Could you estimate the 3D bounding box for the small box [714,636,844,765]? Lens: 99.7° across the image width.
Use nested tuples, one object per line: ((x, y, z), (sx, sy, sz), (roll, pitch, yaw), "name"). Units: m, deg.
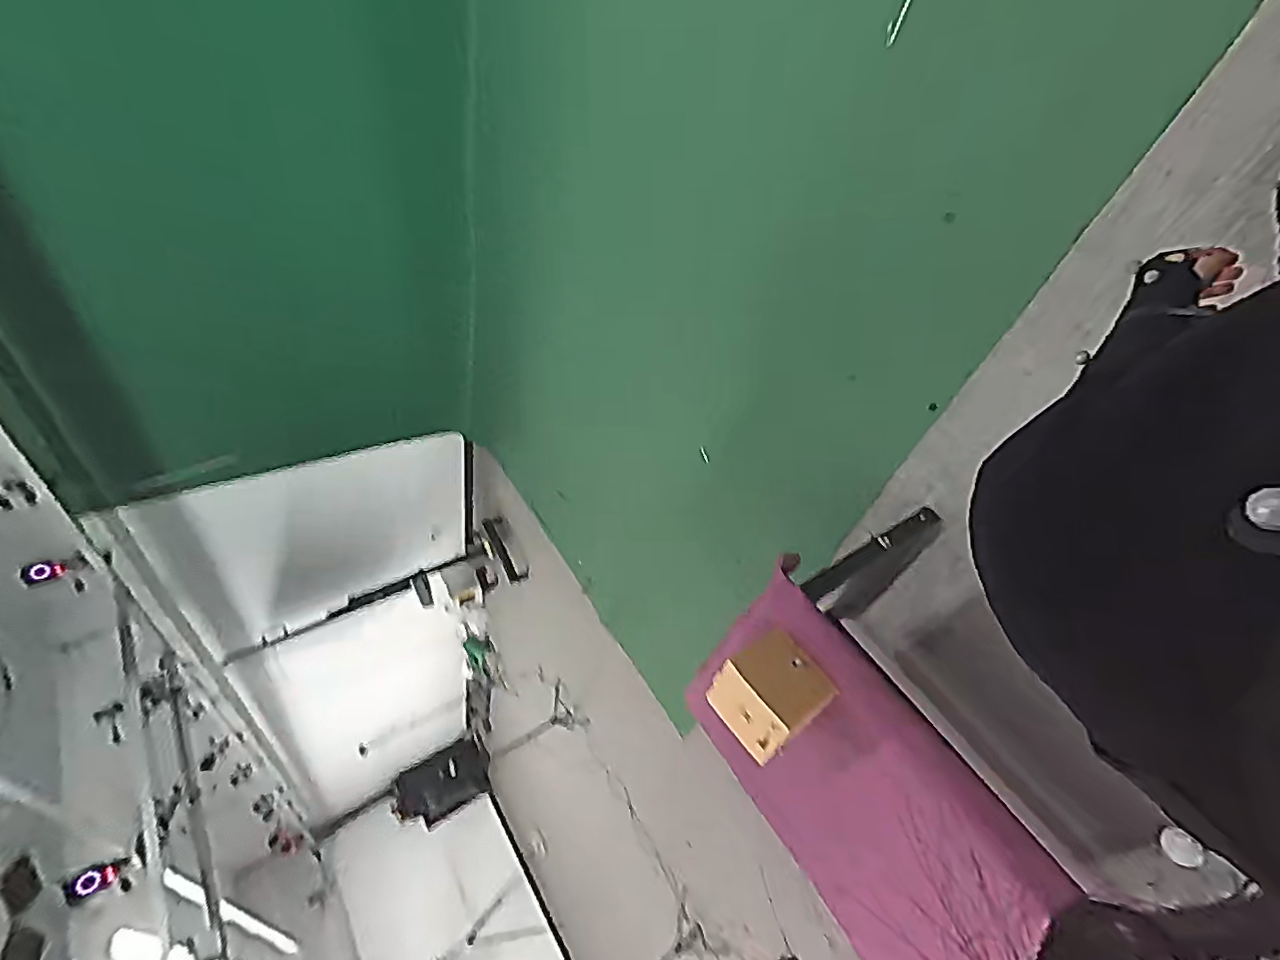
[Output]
((0.296, 0.461, 1.160), (0.179, 0.176, 0.168), (47, 140, 32), "small box")
